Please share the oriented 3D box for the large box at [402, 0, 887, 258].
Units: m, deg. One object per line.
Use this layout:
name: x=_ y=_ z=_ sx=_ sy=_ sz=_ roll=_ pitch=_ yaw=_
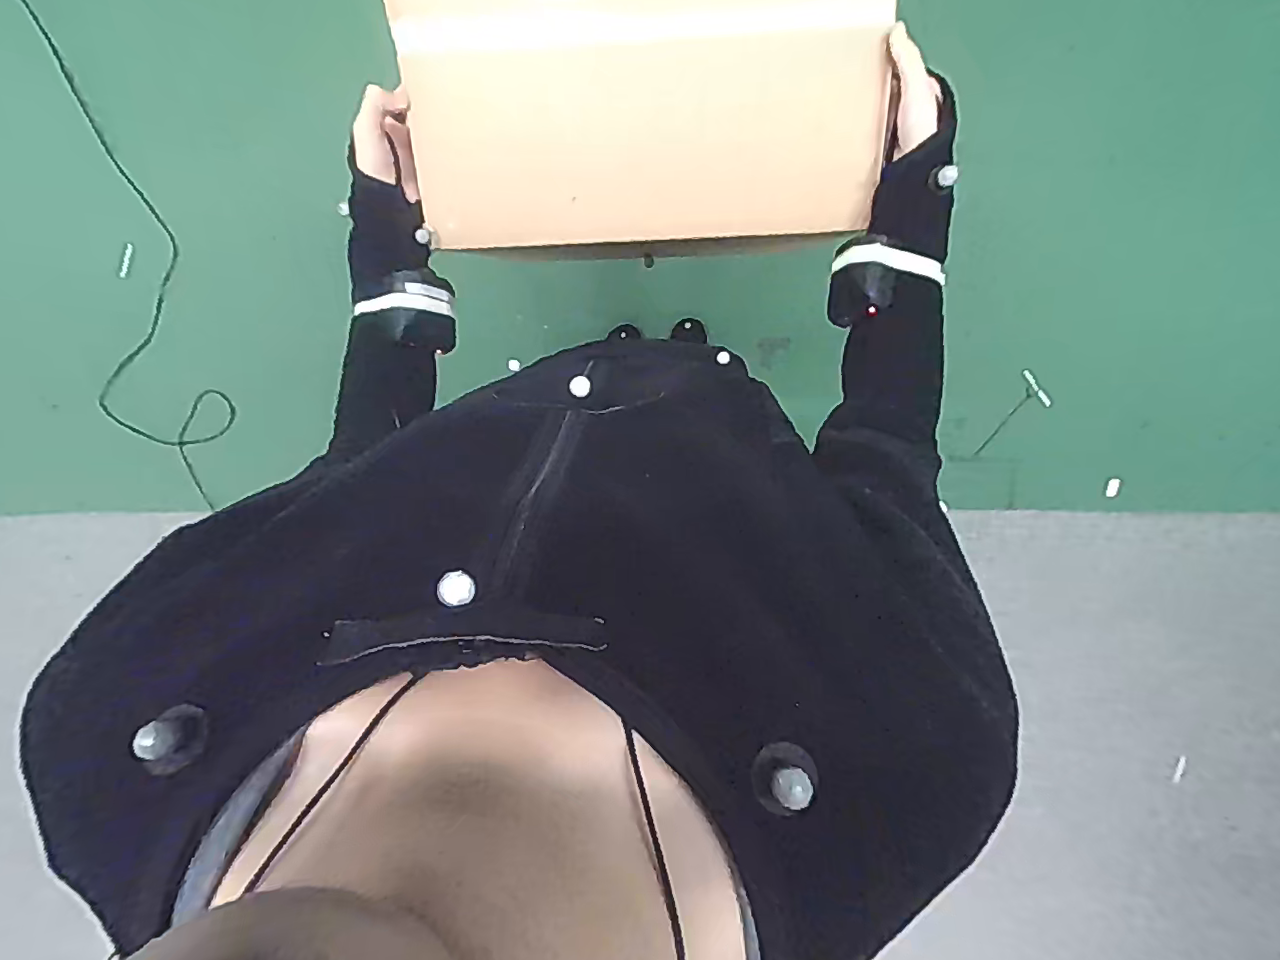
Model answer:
large box: x=0.008 y=-0.421 z=0.587 sx=0.408 sy=0.320 sz=0.320 roll=-2 pitch=109 yaw=2
